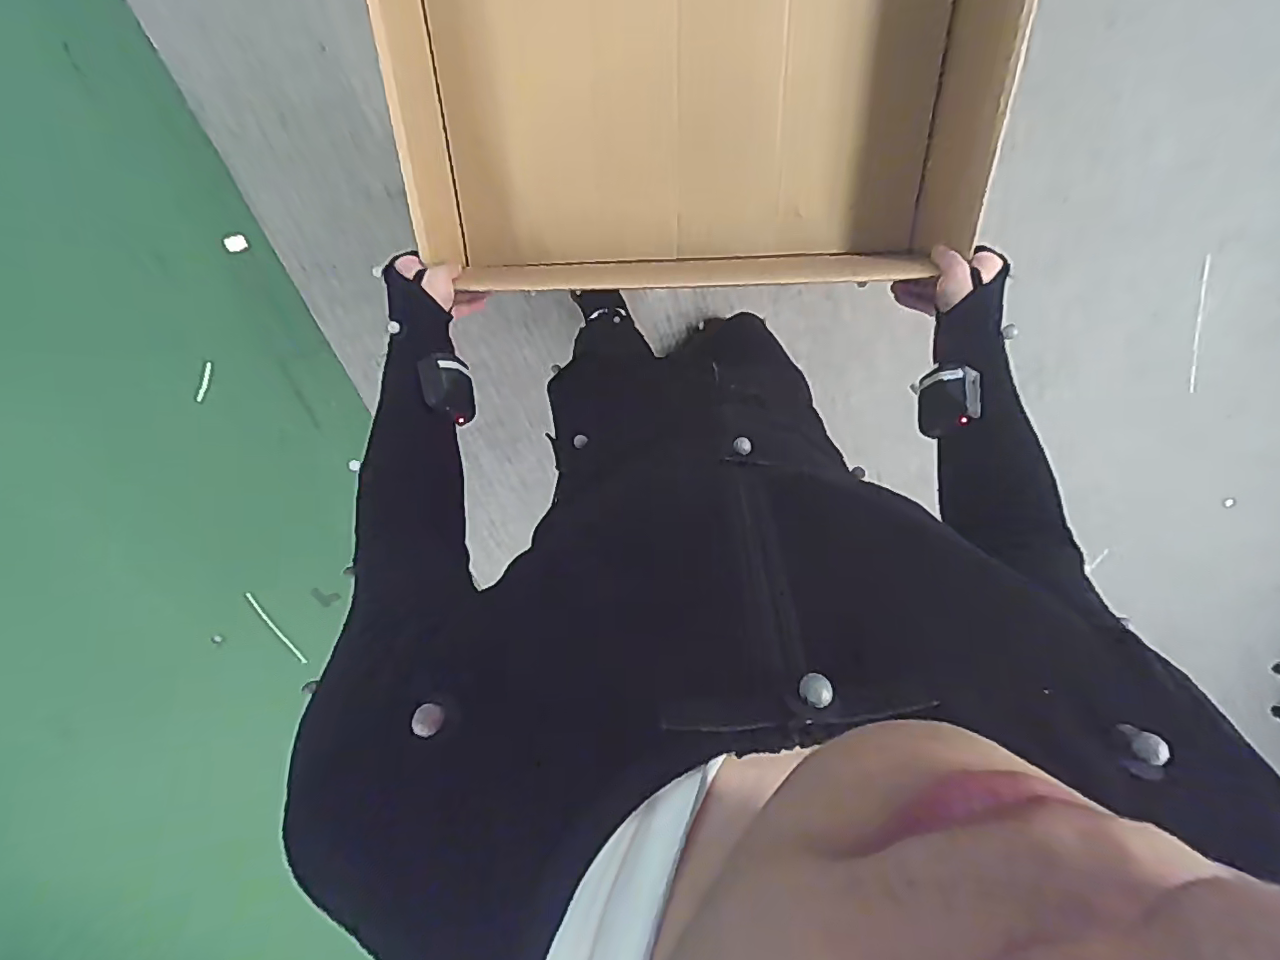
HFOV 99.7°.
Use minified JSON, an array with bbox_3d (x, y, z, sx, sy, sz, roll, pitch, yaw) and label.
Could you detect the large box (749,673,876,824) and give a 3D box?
[{"bbox_3d":[0.671,1.048,2.128,0.320,0.320,0.408,-23,117,3],"label":"large box"}]
